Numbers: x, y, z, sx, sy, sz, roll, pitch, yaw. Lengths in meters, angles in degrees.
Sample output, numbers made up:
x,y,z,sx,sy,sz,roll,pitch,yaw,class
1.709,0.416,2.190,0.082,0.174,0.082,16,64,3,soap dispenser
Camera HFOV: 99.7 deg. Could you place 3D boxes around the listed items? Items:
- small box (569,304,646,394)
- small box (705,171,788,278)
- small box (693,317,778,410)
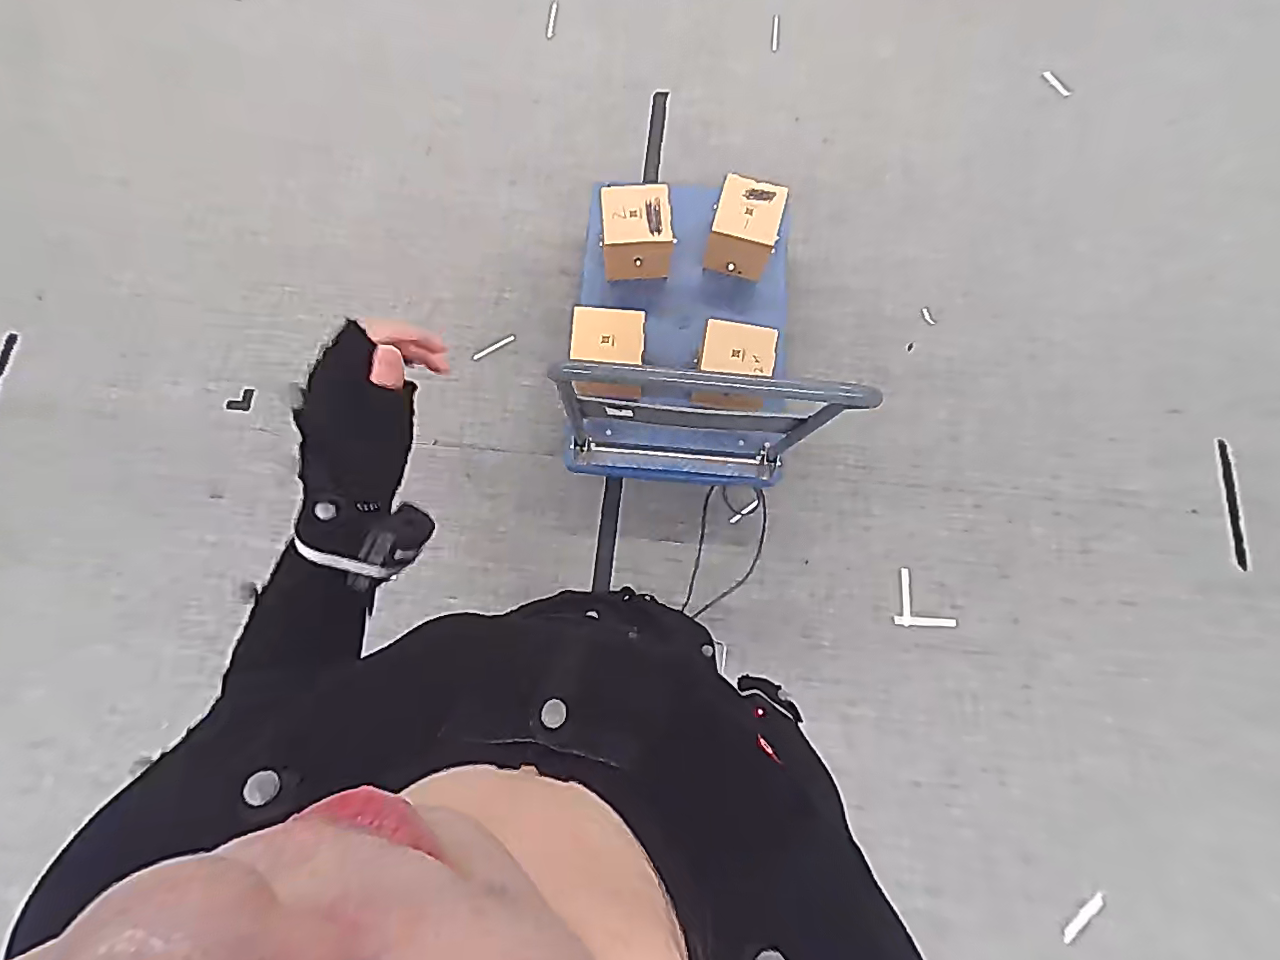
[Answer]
x,y,z,sx,sy,sz,roll,pitch,yaw,class
-0.080,-0.326,1.375,0.179,0.176,0.168,4,78,-2,small box
0.280,-0.681,1.454,0.168,0.176,0.179,15,80,2,small box
0.236,-0.290,1.375,0.179,0.176,0.168,10,79,1,small box
